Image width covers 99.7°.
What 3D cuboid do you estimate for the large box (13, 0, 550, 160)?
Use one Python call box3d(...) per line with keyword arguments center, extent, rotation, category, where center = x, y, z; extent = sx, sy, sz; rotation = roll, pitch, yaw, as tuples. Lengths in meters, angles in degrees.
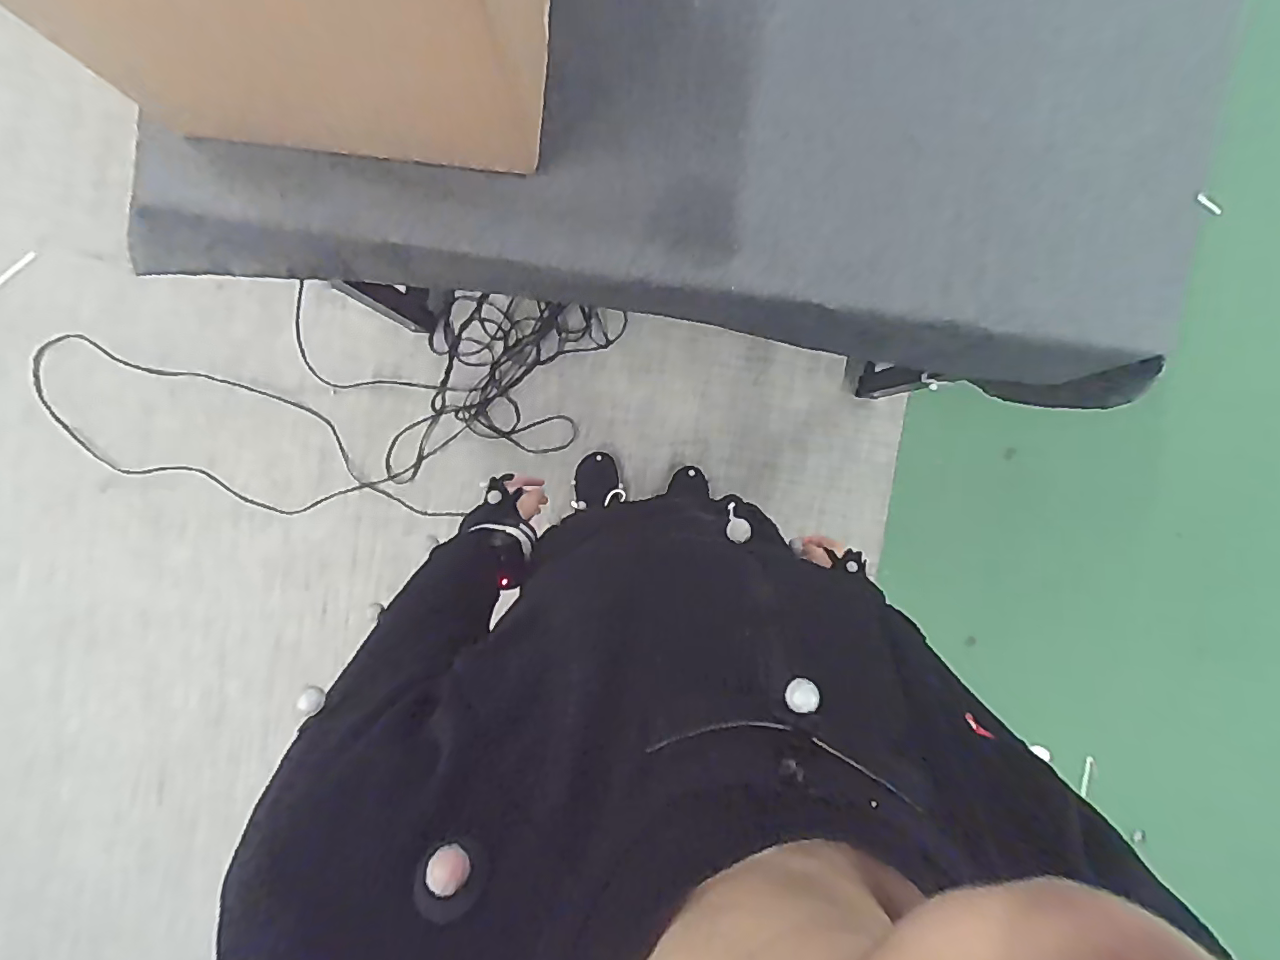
box3d(center=(-0.292, -0.515, 0.447), extent=(0.408, 0.320, 0.320), rotation=(4, 93, -3), category="large box")
